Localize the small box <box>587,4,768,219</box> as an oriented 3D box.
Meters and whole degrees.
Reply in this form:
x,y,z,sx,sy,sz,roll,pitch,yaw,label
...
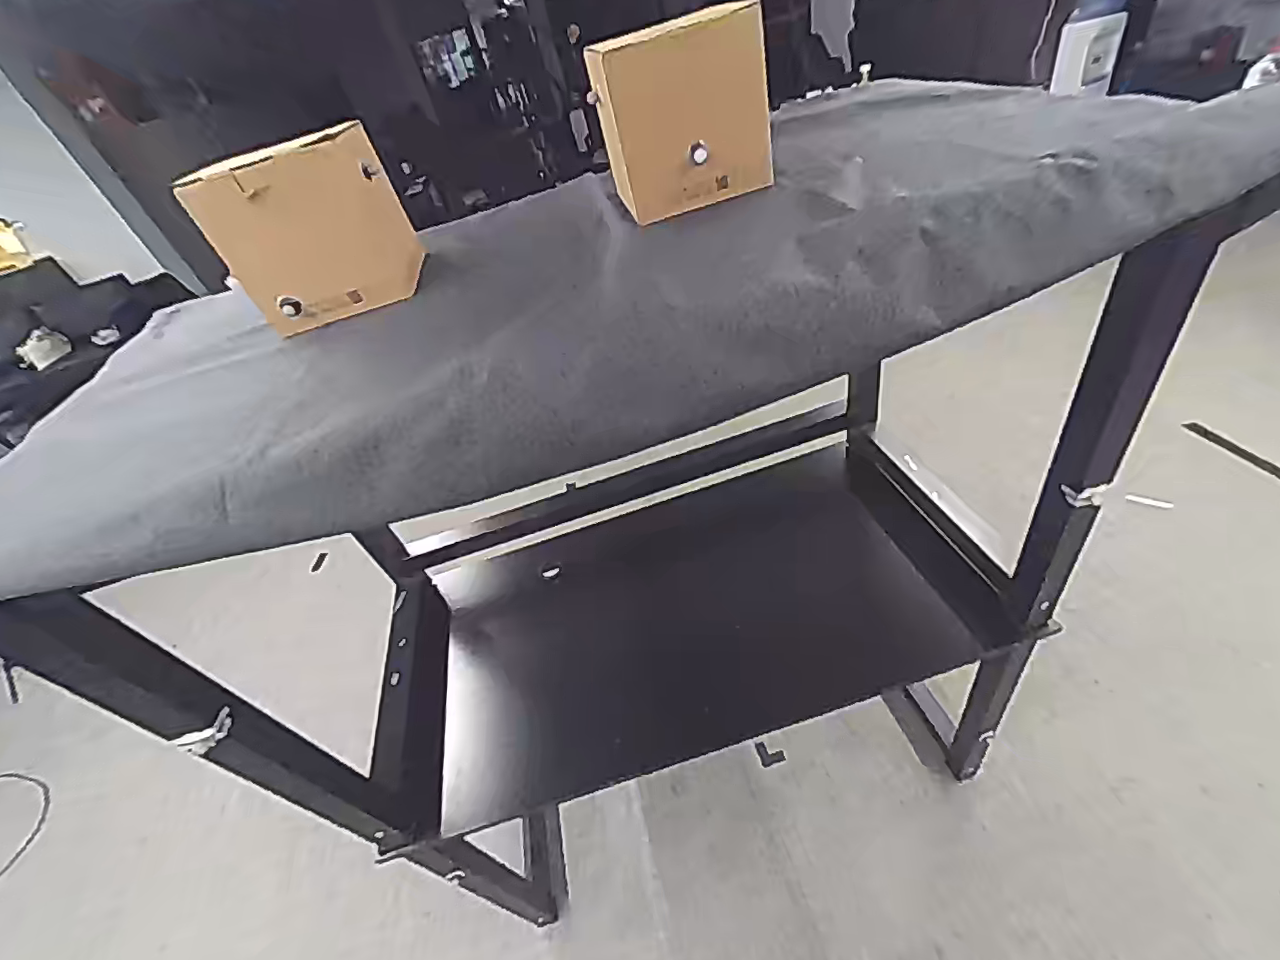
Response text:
x,y,z,sx,sy,sz,roll,pitch,yaw,label
0.044,-0.434,0.646,0.168,0.176,0.179,-17,40,1,small box

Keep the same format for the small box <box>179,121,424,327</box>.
x,y,z,sx,sy,sz,roll,pitch,yaw,label
-0.381,-0.303,0.652,0.168,0.176,0.179,-18,40,-1,small box
